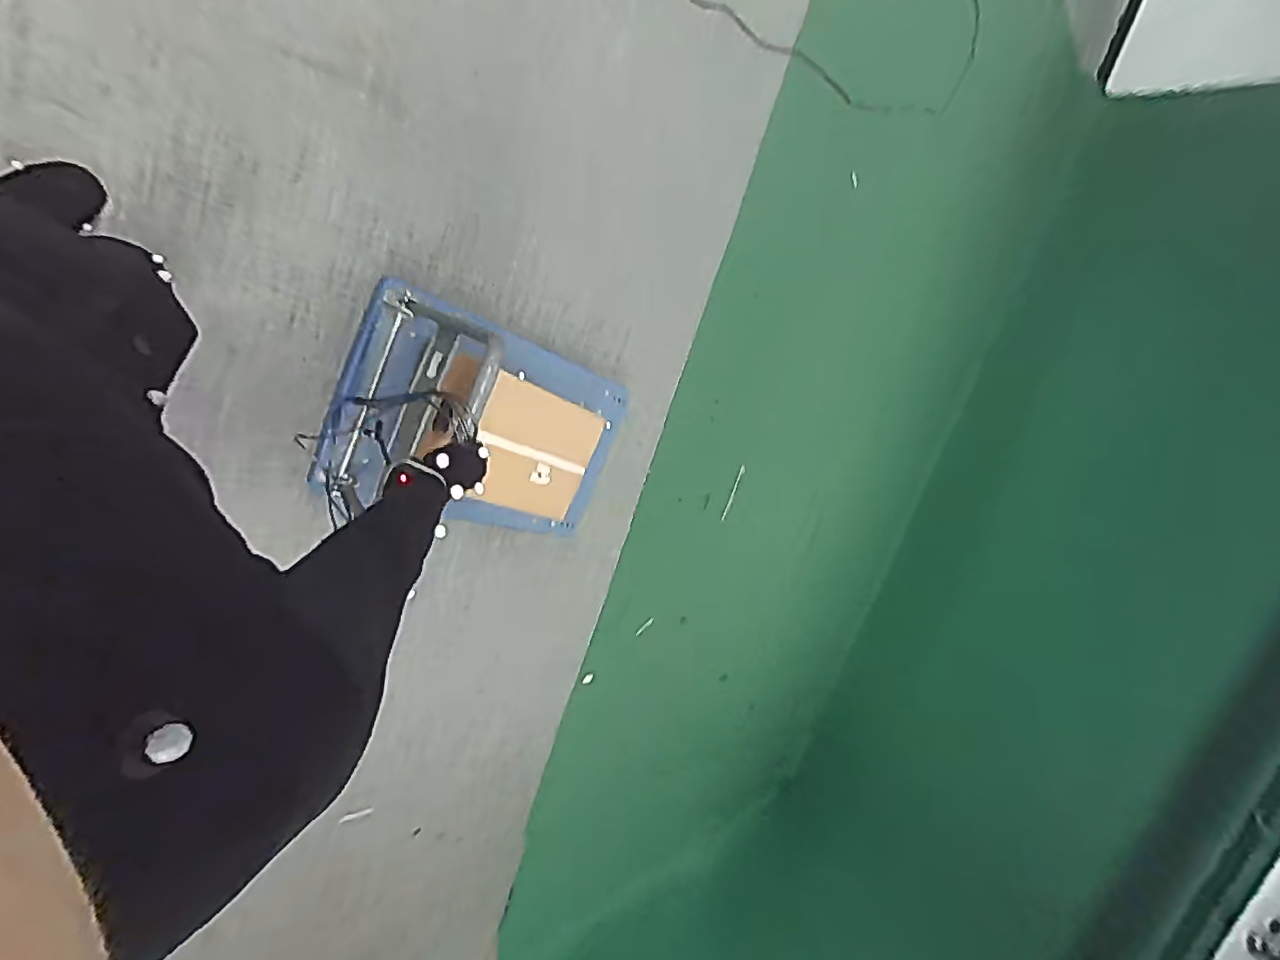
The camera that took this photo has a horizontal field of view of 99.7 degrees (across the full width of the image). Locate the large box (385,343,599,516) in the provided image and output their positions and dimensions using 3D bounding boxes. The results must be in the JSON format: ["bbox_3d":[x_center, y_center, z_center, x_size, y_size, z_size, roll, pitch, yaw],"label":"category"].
[{"bbox_3d":[-0.395,-0.130,1.452,0.408,0.320,0.320,20,96,-47],"label":"large box"}]
